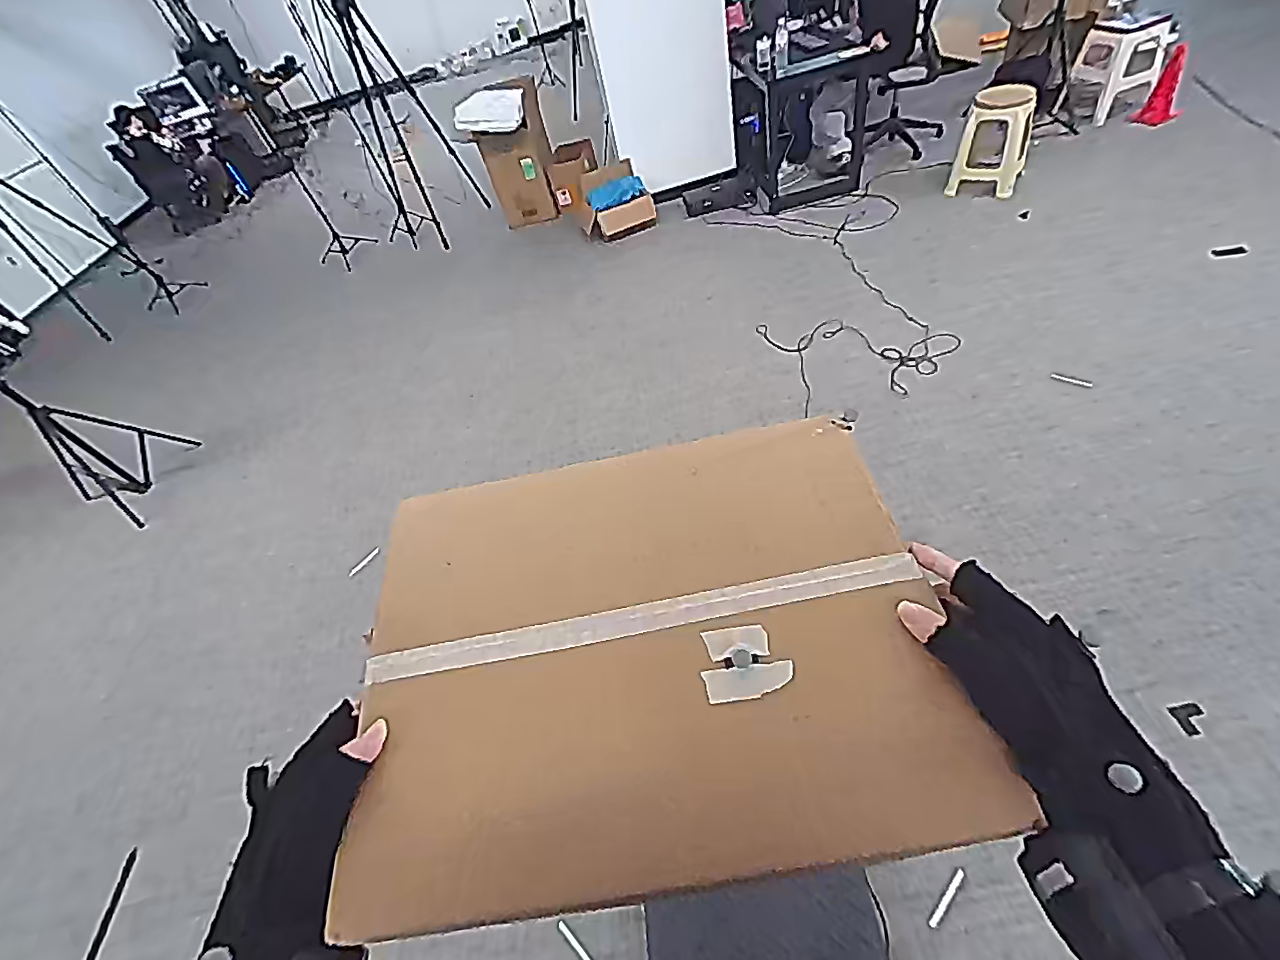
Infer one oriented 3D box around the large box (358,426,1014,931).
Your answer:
[{"bbox_3d":[0.024,0.198,0.523,0.408,0.320,0.320,-11,53,2],"label":"large box"}]
